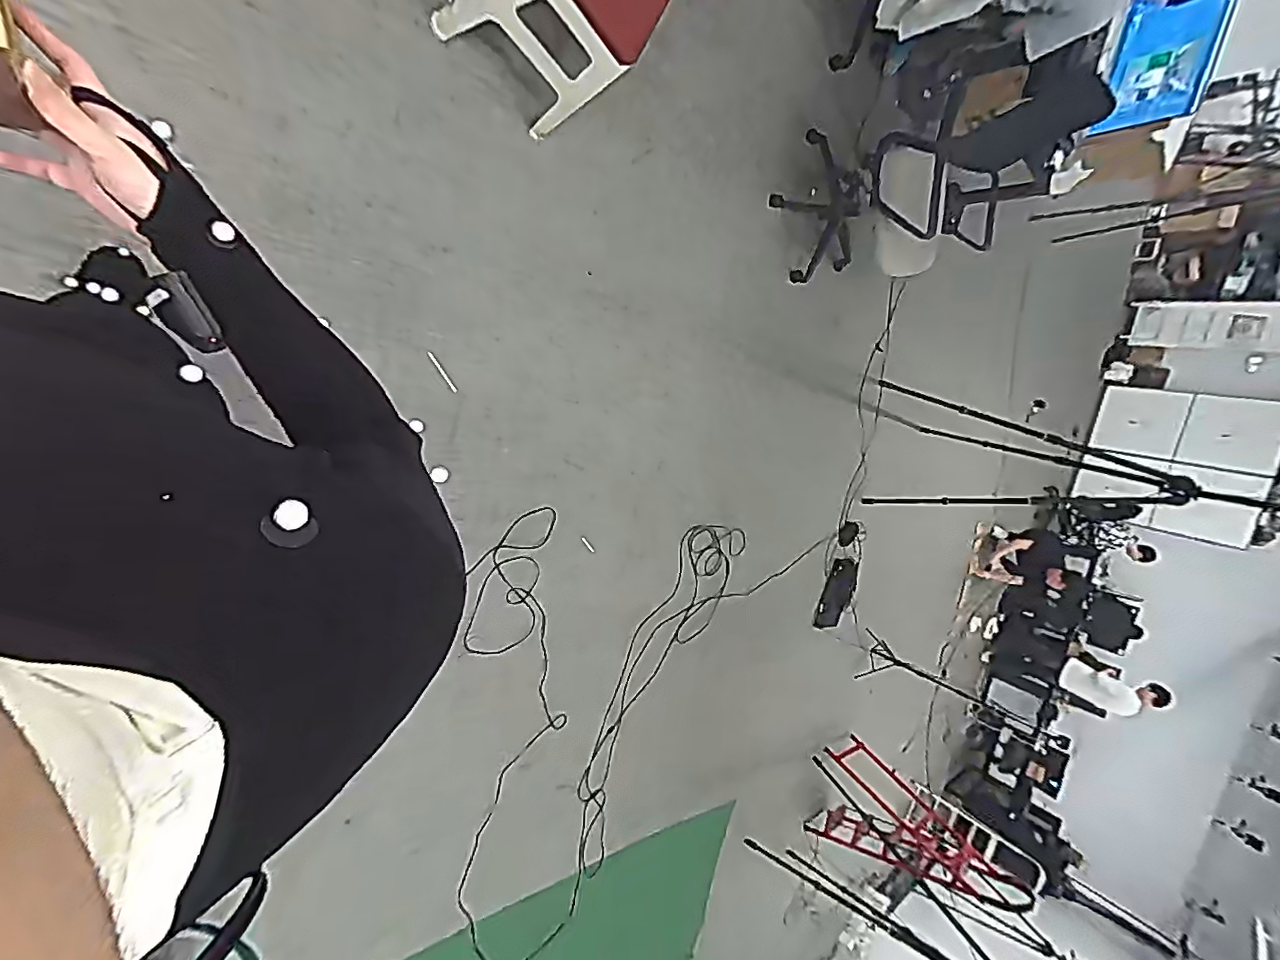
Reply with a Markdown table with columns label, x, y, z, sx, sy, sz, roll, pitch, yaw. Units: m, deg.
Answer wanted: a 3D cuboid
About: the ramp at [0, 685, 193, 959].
| label | x | y | z | sx | sy | sz | roll | pitch | yaw |
| --- | --- | --- | --- | --- | --- | --- | --- | --- | --- |
| ramp | -1.388 | 1.007 | 1.240 | 0.509 | 0.206 | 0.991 | 4 | 101 | -41 |
